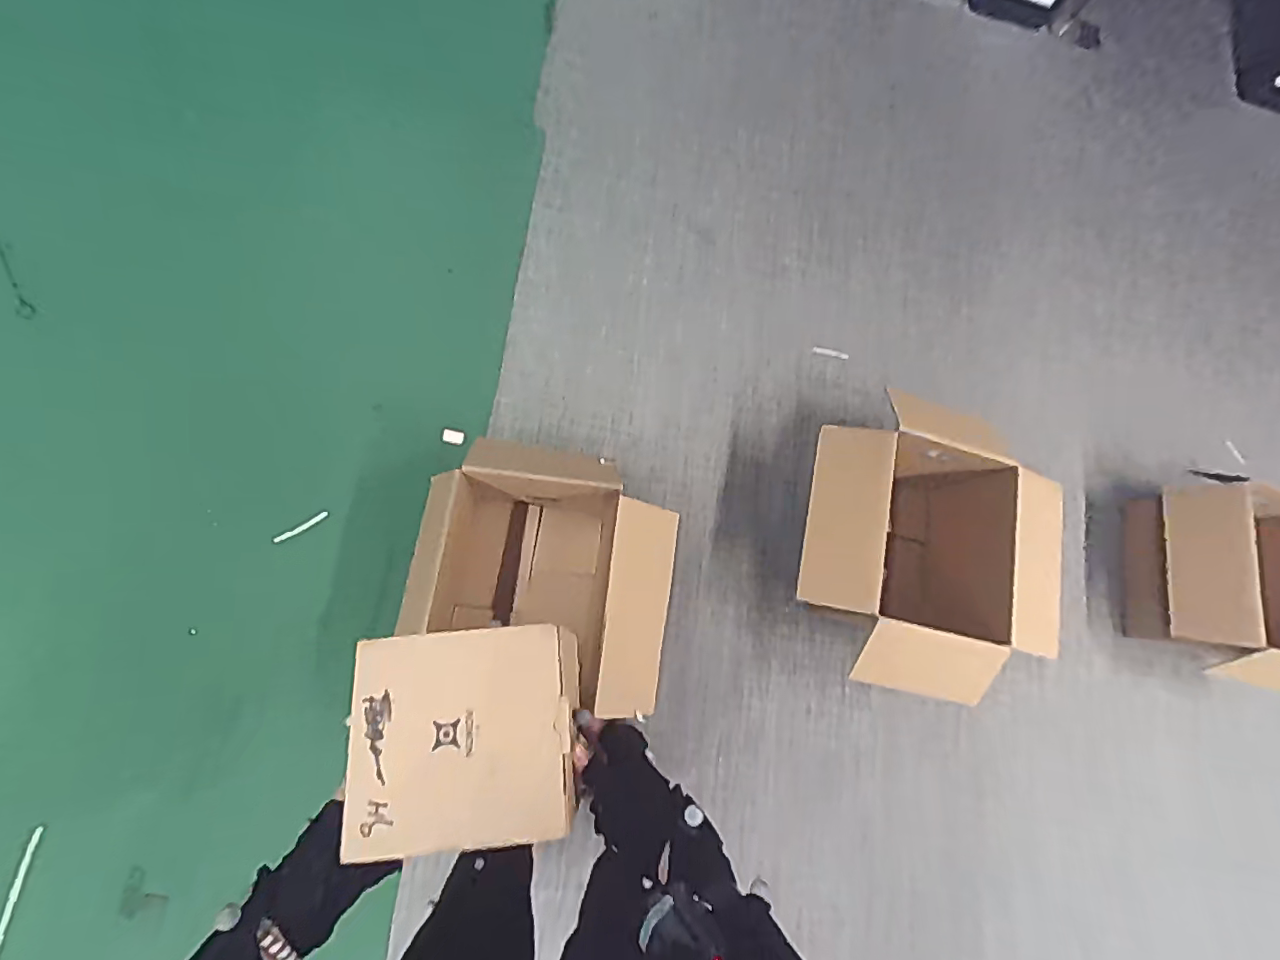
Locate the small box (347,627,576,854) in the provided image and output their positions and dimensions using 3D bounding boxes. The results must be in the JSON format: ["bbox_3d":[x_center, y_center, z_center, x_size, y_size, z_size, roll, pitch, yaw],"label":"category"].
[{"bbox_3d":[-0.152,0.238,0.527,0.179,0.176,0.168,-3,69,-5],"label":"small box"}]
